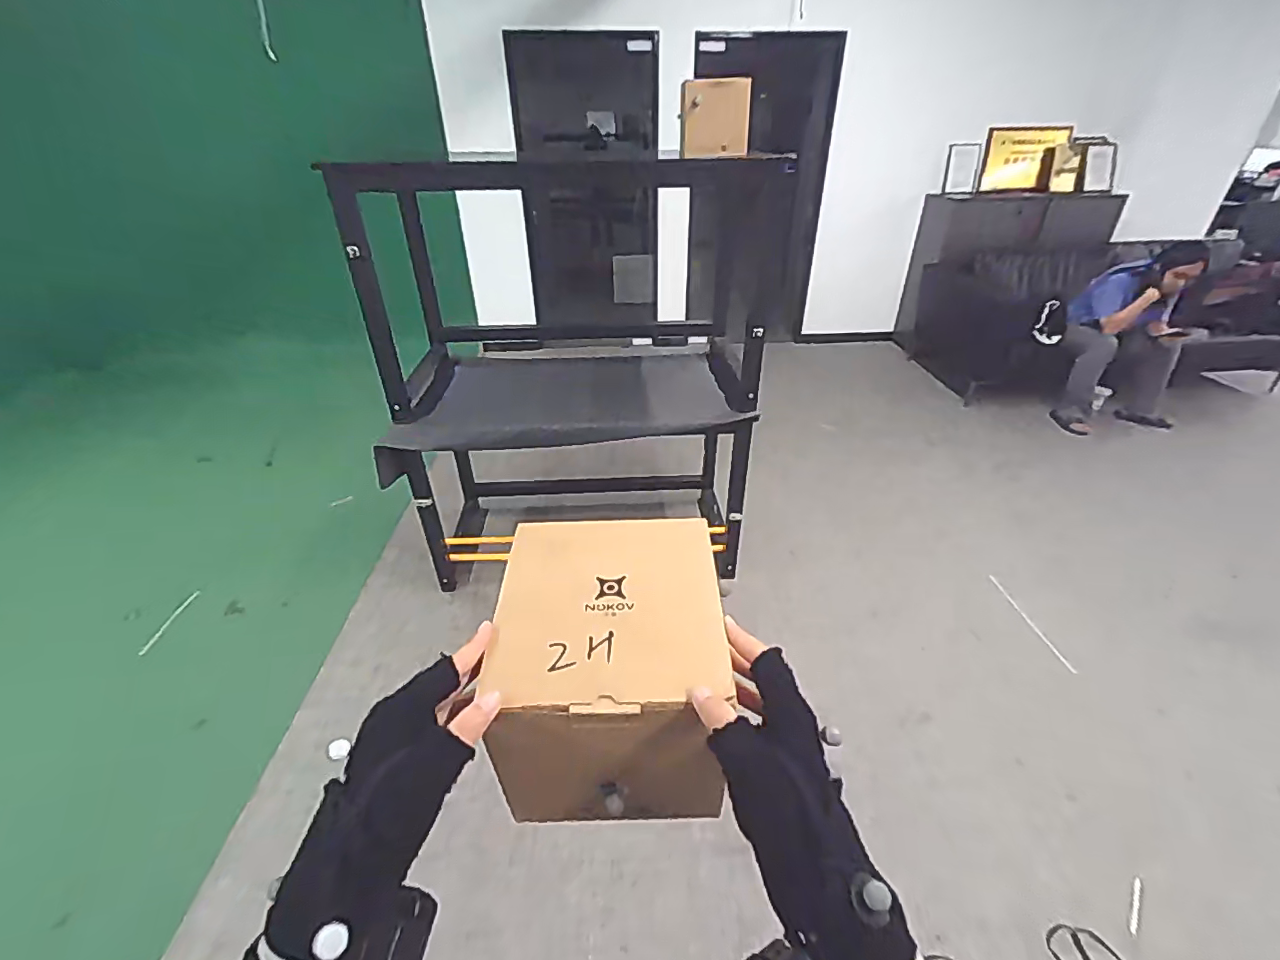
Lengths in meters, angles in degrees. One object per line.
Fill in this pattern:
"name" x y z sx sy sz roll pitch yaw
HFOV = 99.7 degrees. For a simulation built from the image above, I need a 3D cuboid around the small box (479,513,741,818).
"small box" -0.017 0.146 0.444 0.168 0.176 0.179 -2 36 1
